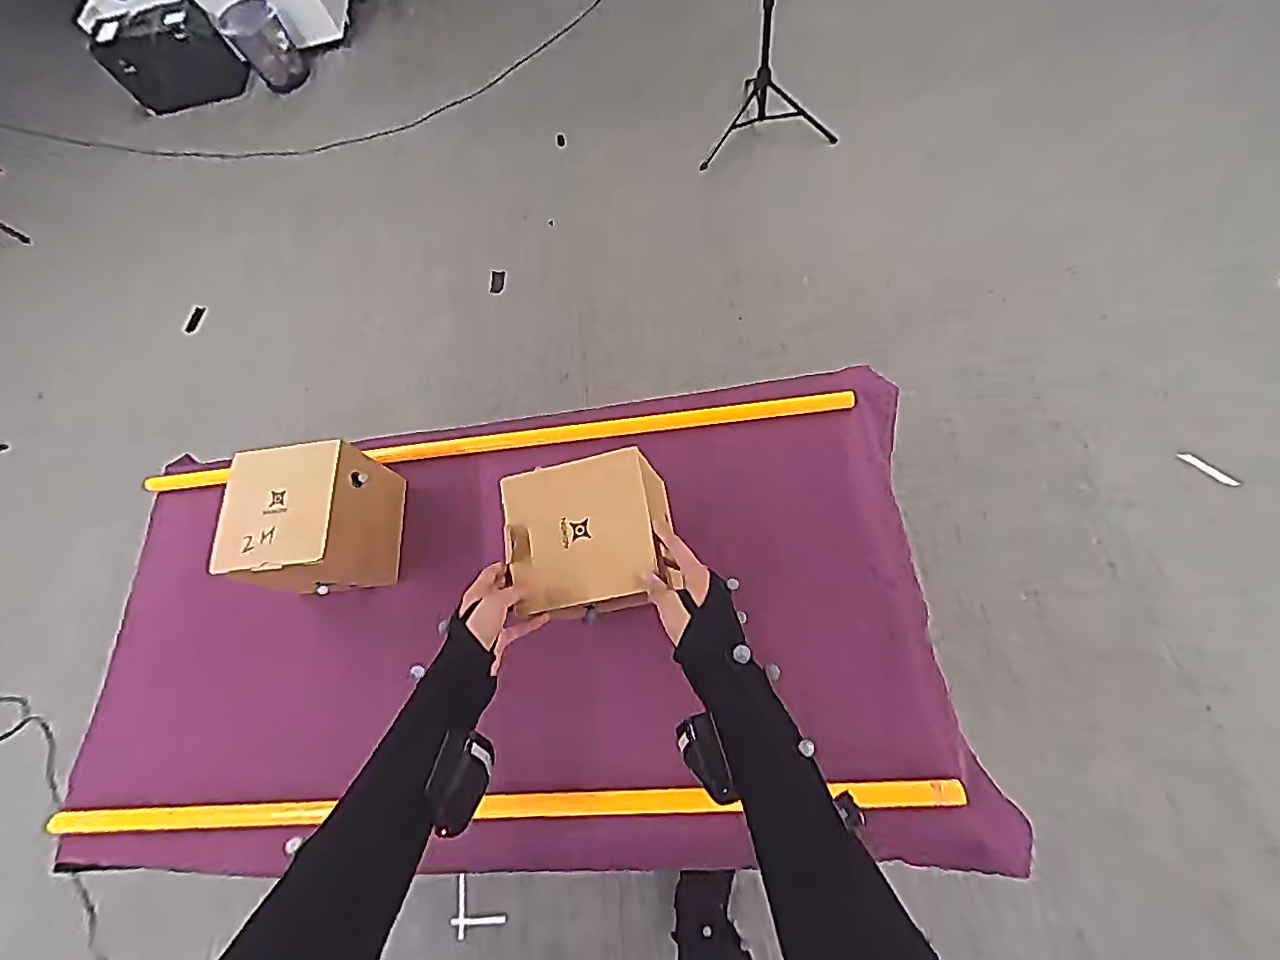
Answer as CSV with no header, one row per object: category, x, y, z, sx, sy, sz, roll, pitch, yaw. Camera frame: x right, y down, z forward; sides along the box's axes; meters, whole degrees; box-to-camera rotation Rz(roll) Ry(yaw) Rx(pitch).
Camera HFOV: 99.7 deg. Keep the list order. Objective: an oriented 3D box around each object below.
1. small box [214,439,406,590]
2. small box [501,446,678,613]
small box,-0.471,0.059,0.803,0.168,0.176,0.179,-7,69,7
small box,-0.054,0.073,0.690,0.179,0.176,0.168,-13,73,11
